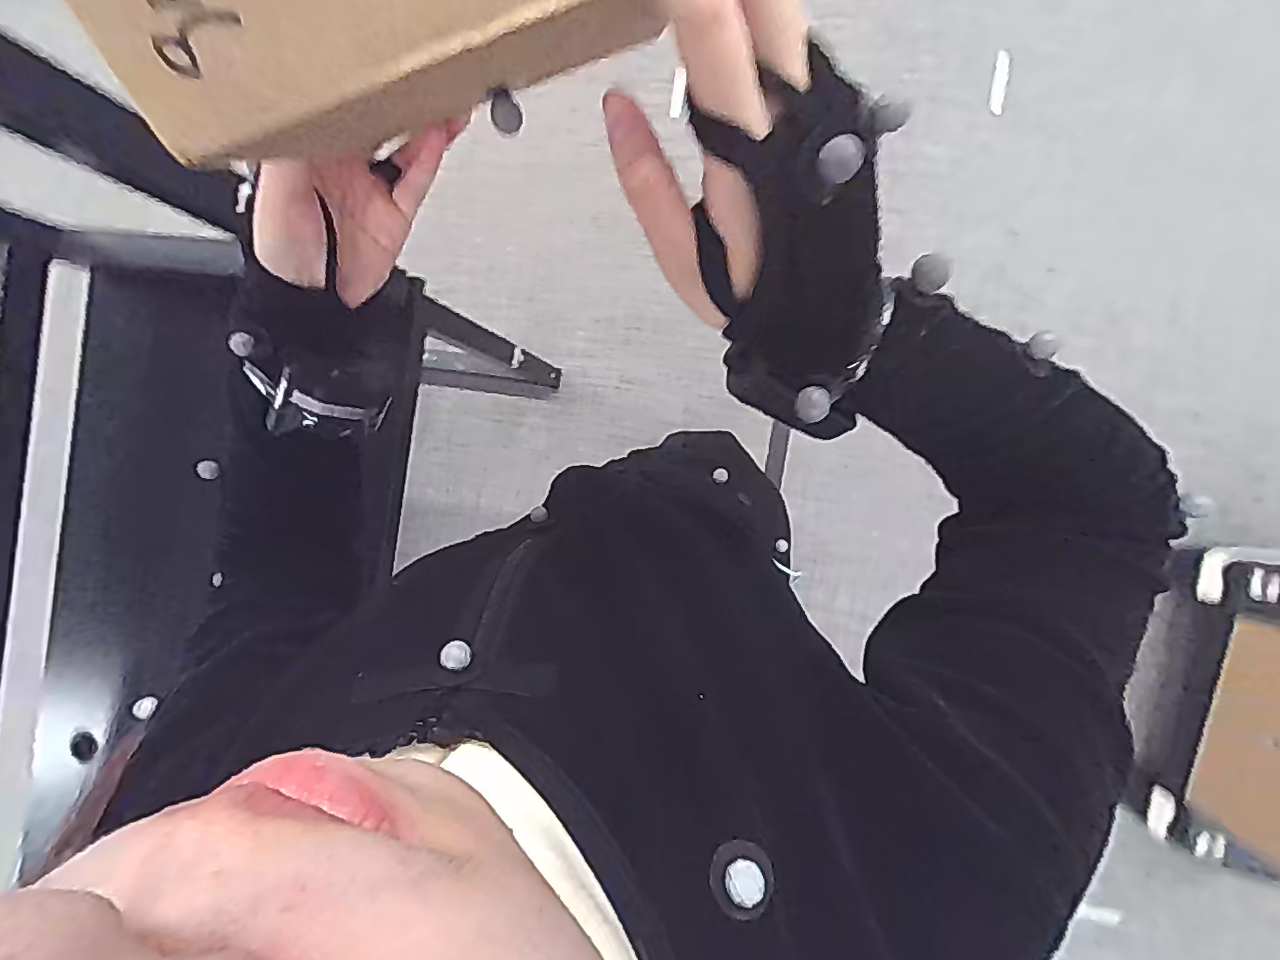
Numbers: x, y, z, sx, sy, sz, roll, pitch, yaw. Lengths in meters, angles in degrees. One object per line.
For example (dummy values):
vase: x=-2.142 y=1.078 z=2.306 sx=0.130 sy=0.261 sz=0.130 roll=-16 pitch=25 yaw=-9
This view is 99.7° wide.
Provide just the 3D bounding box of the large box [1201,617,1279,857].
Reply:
large box: x=1.314 y=0.502 z=0.944 sx=0.320 sy=0.320 sz=0.408 roll=12 pitch=92 yaw=8

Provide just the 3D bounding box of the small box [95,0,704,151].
small box: x=-0.078 y=-0.226 z=0.176 sx=0.179 sy=0.176 sz=0.168 roll=-18 pitch=120 yaw=3

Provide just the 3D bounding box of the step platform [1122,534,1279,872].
step platform: x=1.355 y=0.474 z=1.178 sx=0.286 sy=0.204 sz=0.684 roll=14 pitch=92 yaw=9
